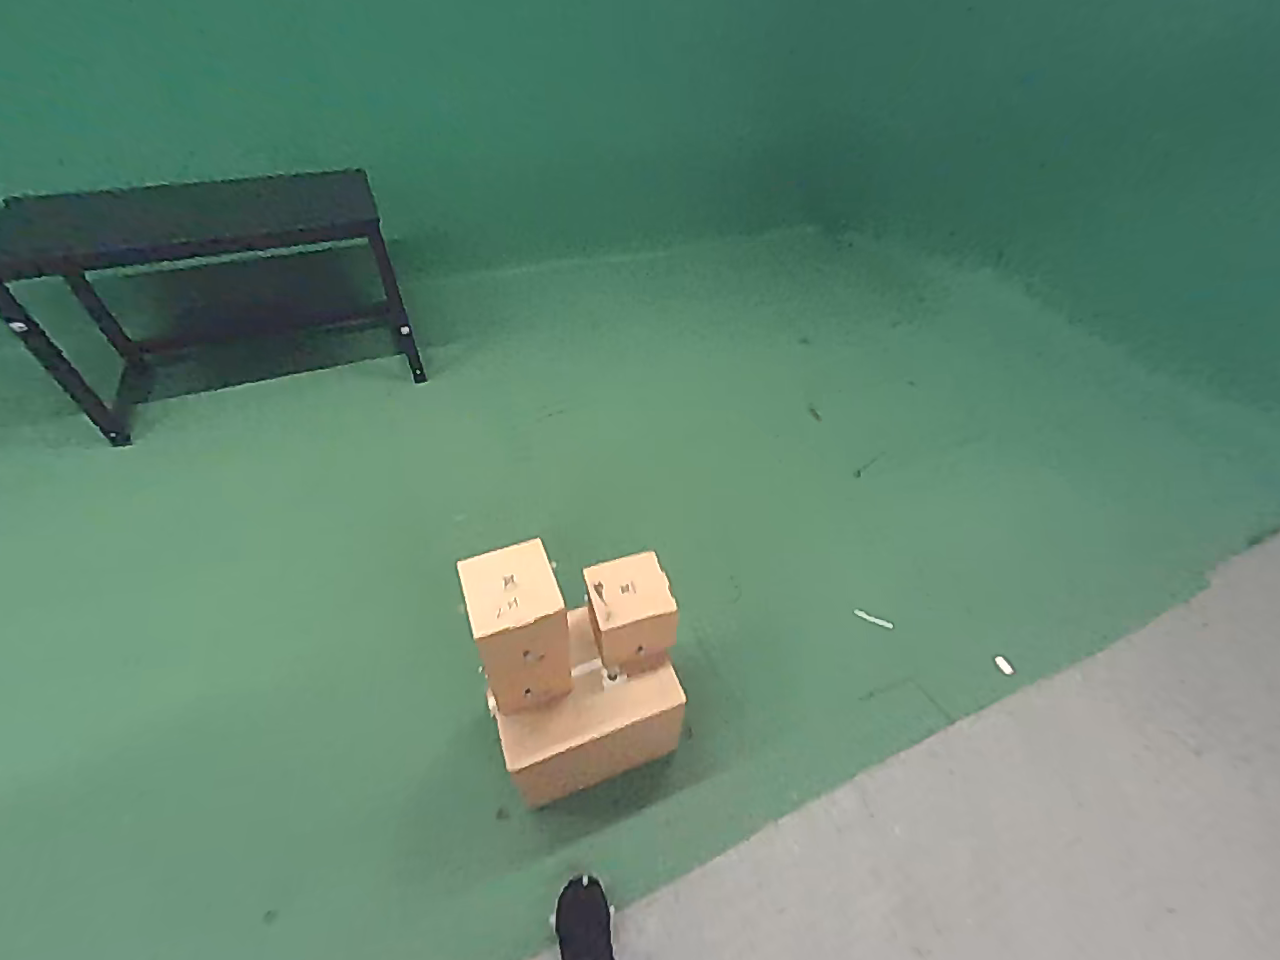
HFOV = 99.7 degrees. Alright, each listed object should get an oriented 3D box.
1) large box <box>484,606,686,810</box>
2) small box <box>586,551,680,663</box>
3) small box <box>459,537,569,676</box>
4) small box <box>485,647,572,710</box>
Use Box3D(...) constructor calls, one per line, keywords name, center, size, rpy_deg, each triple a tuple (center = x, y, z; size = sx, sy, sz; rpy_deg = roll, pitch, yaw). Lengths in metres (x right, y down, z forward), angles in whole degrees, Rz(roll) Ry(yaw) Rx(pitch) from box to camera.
Box3D(name="large box", center=(-0.140, 0.538, 1.340), size=(0.408, 0.320, 0.320), rpy_deg=(-15, 48, -17))
Box3D(name="small box", center=(-0.022, 0.292, 1.242), size=(0.179, 0.176, 0.168), rpy_deg=(-11, 46, -13))
Box3D(name="small box", center=(-0.242, 0.245, 1.053), size=(0.168, 0.176, 0.179), rpy_deg=(-16, 48, -17))
Box3D(name="small box", center=(-0.250, 0.361, 1.170), size=(0.168, 0.176, 0.179), rpy_deg=(-14, 48, -17))
